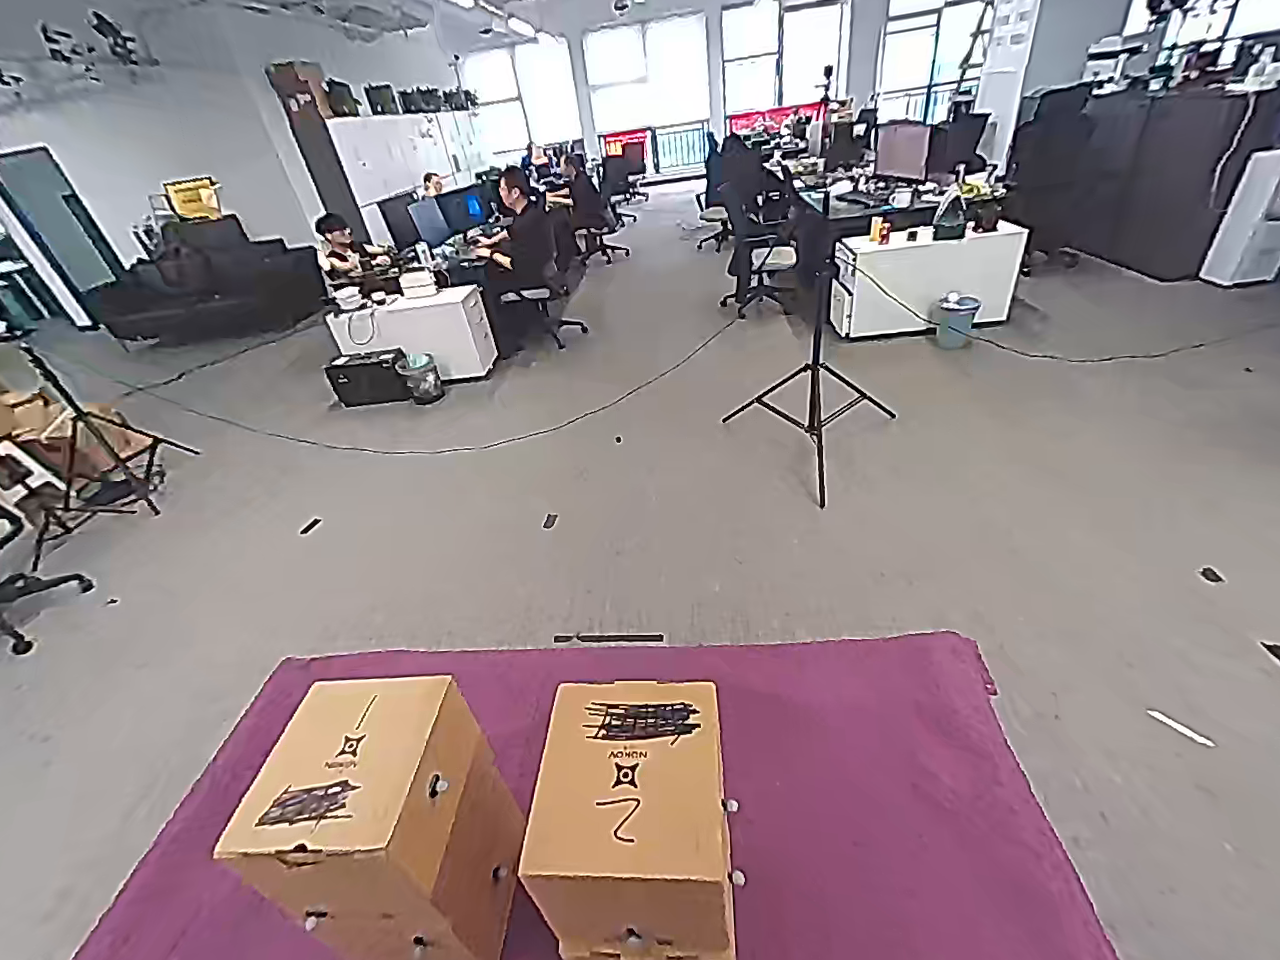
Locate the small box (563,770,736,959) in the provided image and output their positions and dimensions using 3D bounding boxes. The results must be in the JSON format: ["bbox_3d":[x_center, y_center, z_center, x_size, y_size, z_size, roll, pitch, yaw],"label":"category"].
[{"bbox_3d":[0.022,0.462,0.619,0.168,0.176,0.179,-5,34,7],"label":"small box"}]

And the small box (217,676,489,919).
[{"bbox_3d":[-0.278,0.338,0.577,0.168,0.176,0.179,-5,34,6],"label":"small box"}]

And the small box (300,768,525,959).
[{"bbox_3d":[-0.256,0.476,0.664,0.179,0.176,0.168,-4,34,7],"label":"small box"}]
